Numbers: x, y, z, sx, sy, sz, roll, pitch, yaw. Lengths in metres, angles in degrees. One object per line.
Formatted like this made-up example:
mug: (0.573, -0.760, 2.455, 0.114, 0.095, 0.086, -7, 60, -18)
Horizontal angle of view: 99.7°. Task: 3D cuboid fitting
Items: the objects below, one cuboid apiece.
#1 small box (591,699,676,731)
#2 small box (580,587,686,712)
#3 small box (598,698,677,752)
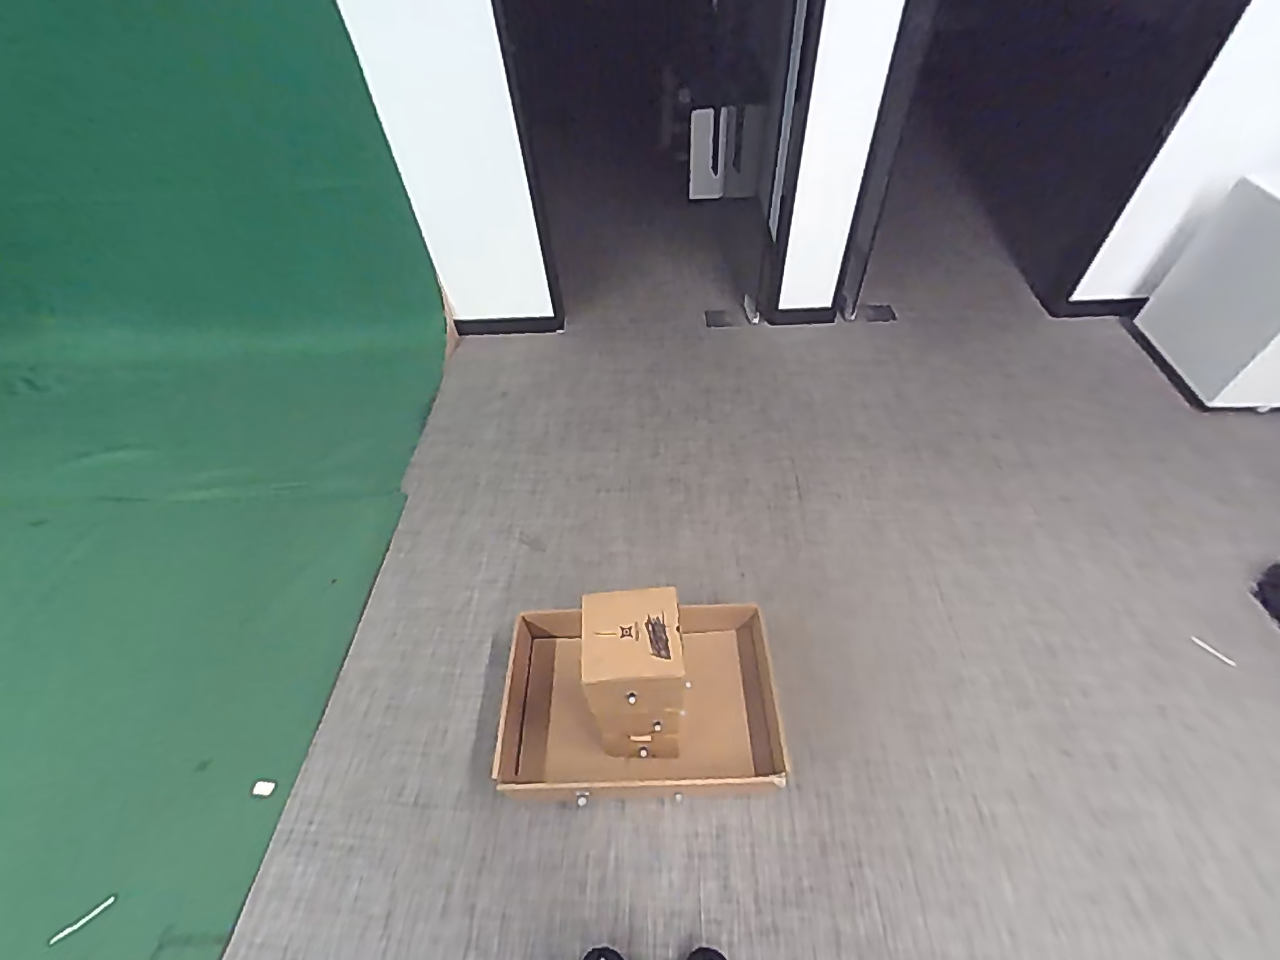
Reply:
small box: (-0.007, 0.418, 1.140, 0.168, 0.176, 0.179, -1, 49, 3)
small box: (-0.015, 0.319, 1.009, 0.179, 0.176, 0.168, -6, 50, -2)
small box: (0.001, 0.523, 1.262, 0.168, 0.176, 0.179, 0, 50, 4)
